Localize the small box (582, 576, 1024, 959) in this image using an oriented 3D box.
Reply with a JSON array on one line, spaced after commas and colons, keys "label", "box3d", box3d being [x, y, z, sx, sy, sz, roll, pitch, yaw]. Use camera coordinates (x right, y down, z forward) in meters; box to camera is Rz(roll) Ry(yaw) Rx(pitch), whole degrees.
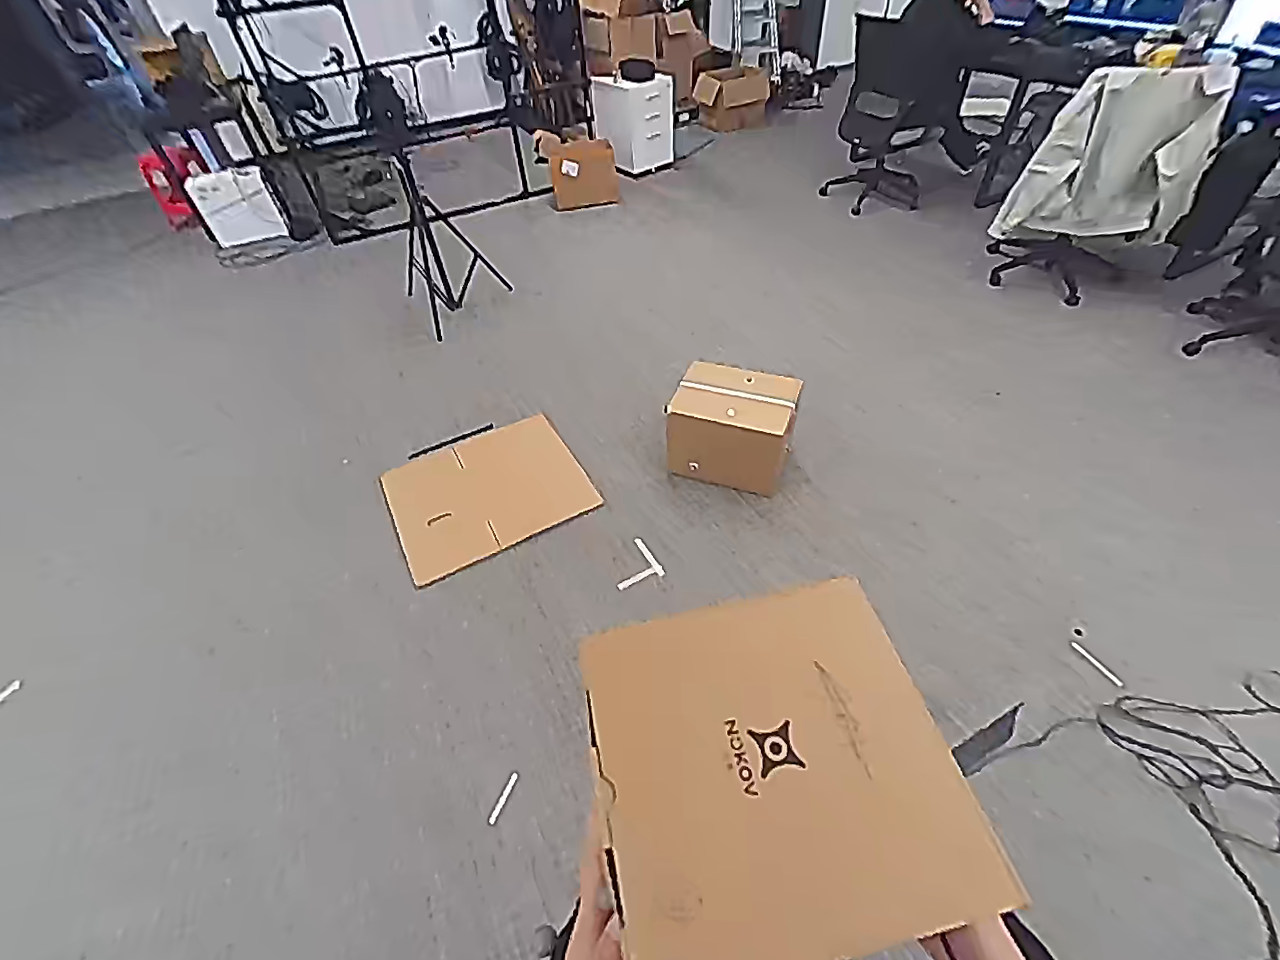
[{"label": "small box", "box3d": [0.071, 0.187, 0.335, 0.179, 0.176, 0.168, -12, 51, -6]}]
